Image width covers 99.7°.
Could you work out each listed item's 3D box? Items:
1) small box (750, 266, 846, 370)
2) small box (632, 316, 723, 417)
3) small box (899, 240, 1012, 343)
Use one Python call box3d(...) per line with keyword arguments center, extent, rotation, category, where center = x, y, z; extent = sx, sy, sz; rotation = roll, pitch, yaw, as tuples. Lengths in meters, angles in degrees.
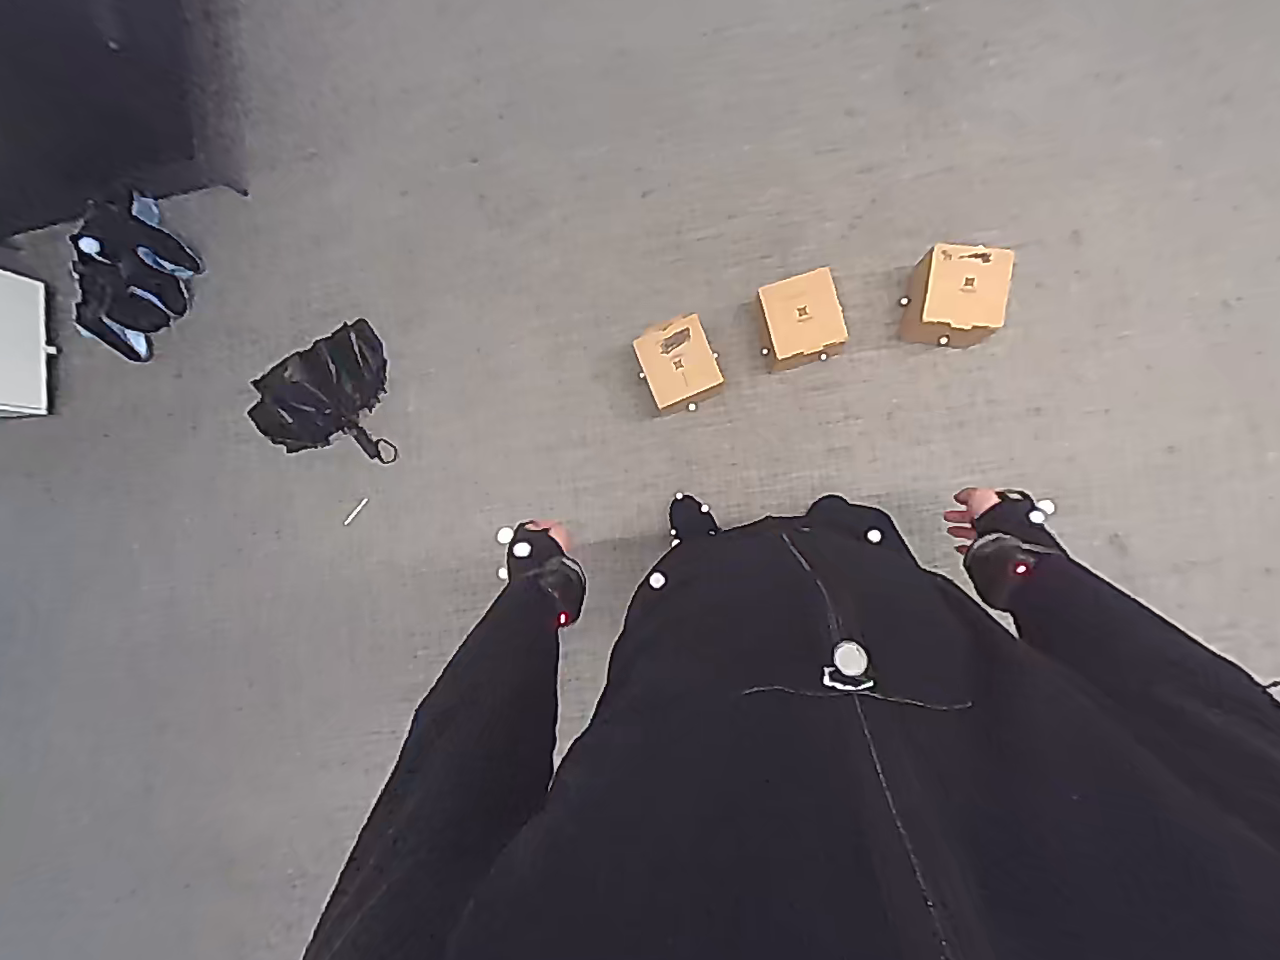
box3d(center=(0.371, -0.375, 1.295), extent=(0.168, 0.176, 0.179), rotation=(-17, 86, 6), category="small box")
box3d(center=(0.095, -0.270, 1.329), extent=(0.168, 0.176, 0.179), rotation=(-23, 87, 7), category="small box")
box3d(center=(0.714, -0.425, 1.245), extent=(0.168, 0.176, 0.179), rotation=(9, 91, 8), category="small box")
